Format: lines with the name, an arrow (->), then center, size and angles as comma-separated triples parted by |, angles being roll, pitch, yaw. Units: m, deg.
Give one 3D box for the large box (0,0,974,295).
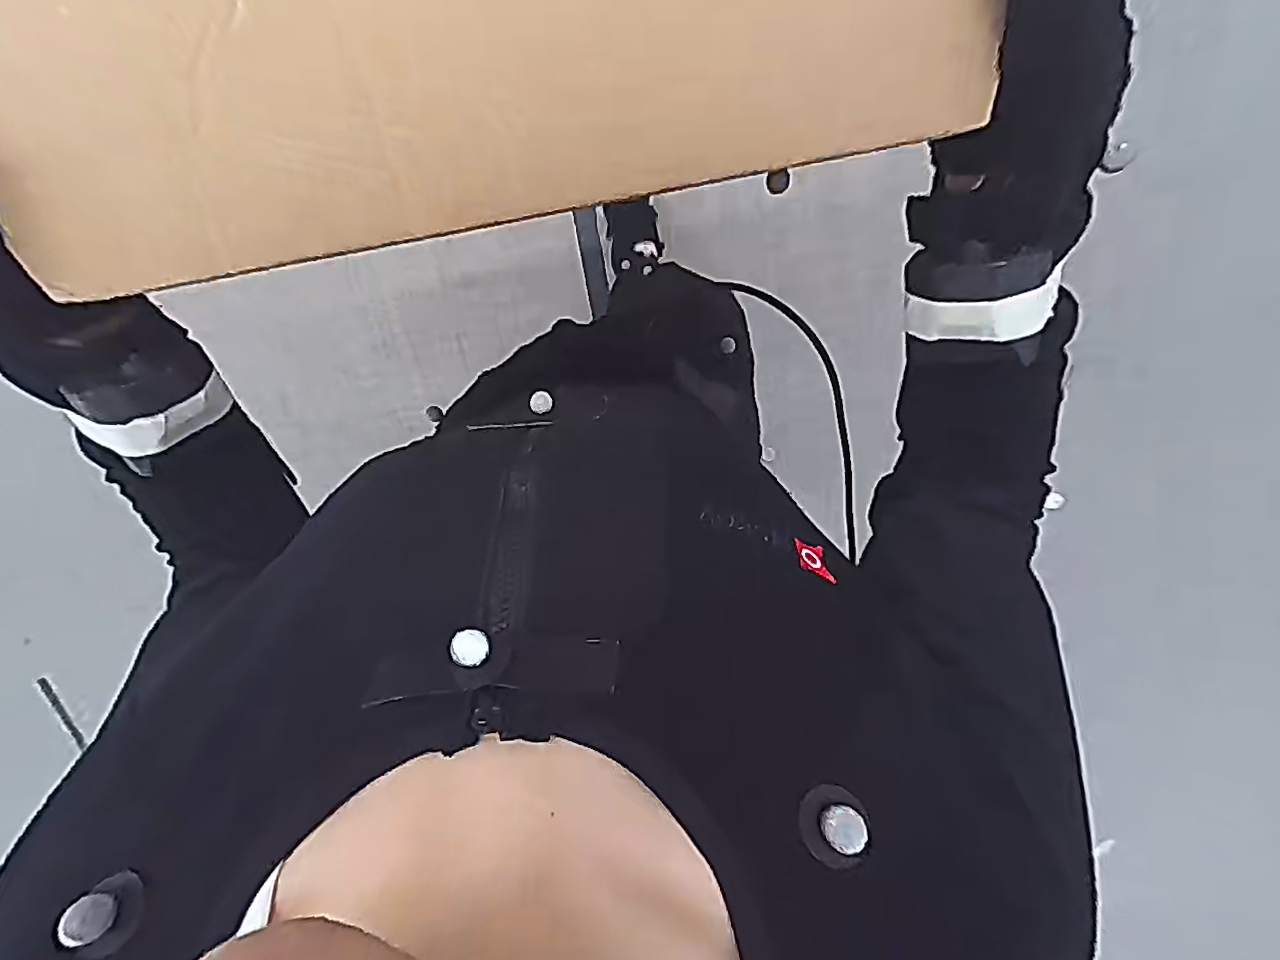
large box -> -0.093, -0.328, 0.277 | 0.408, 0.320, 0.320 | -10, 123, 3
